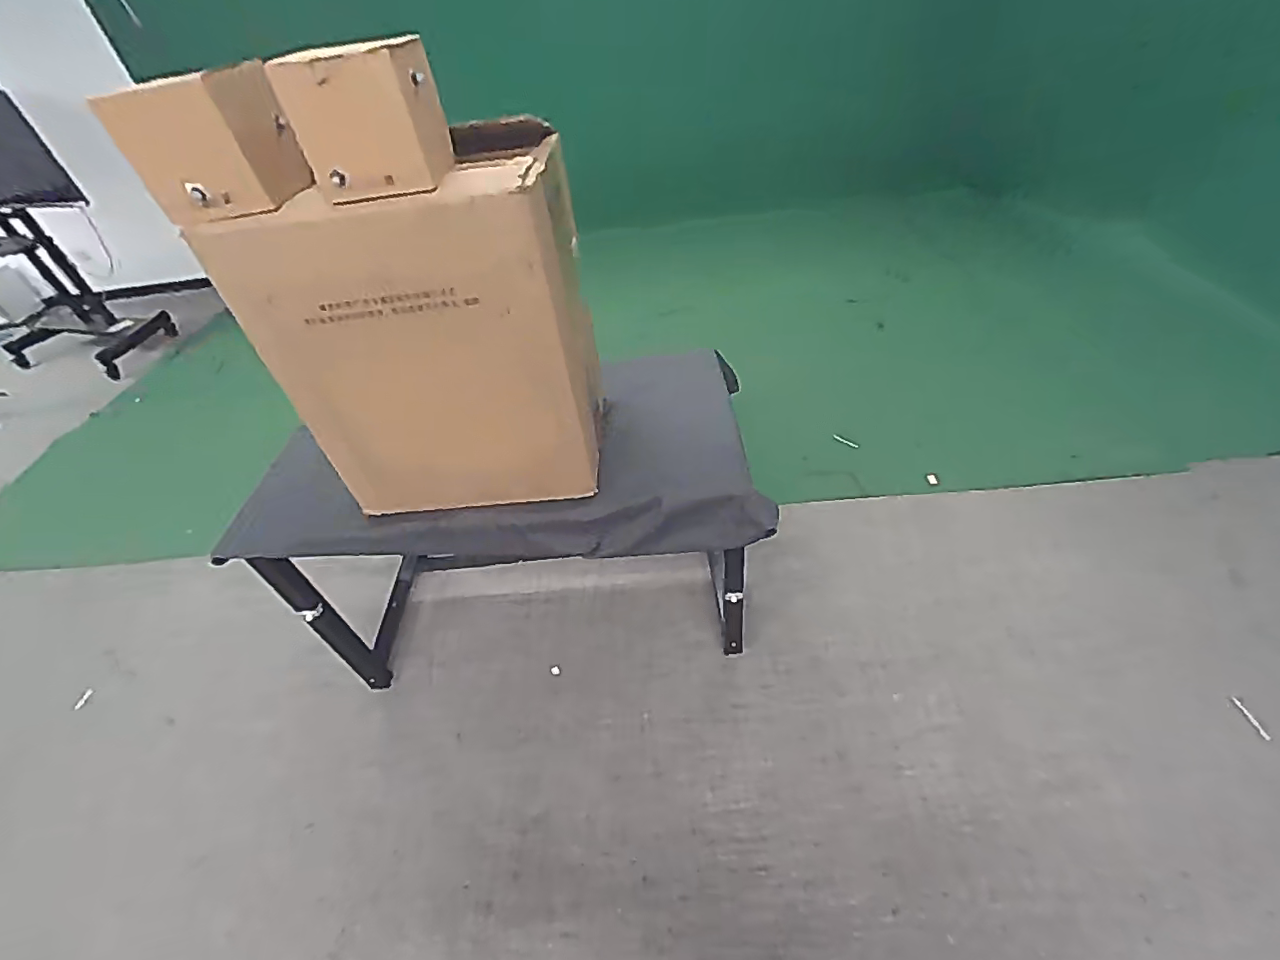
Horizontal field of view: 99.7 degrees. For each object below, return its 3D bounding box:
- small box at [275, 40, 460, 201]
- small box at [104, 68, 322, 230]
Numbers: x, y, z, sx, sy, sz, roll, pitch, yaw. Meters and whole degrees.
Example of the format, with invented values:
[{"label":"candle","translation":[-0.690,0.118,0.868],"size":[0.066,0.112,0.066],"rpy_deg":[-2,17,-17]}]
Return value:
[{"label":"small box","translation":[-0.386,-0.530,0.808],"size":[0.168,0.176,0.179],"rpy_deg":[-6,43,2]},{"label":"small box","translation":[-0.631,-0.507,0.833],"size":[0.168,0.176,0.179],"rpy_deg":[-9,44,4]}]
